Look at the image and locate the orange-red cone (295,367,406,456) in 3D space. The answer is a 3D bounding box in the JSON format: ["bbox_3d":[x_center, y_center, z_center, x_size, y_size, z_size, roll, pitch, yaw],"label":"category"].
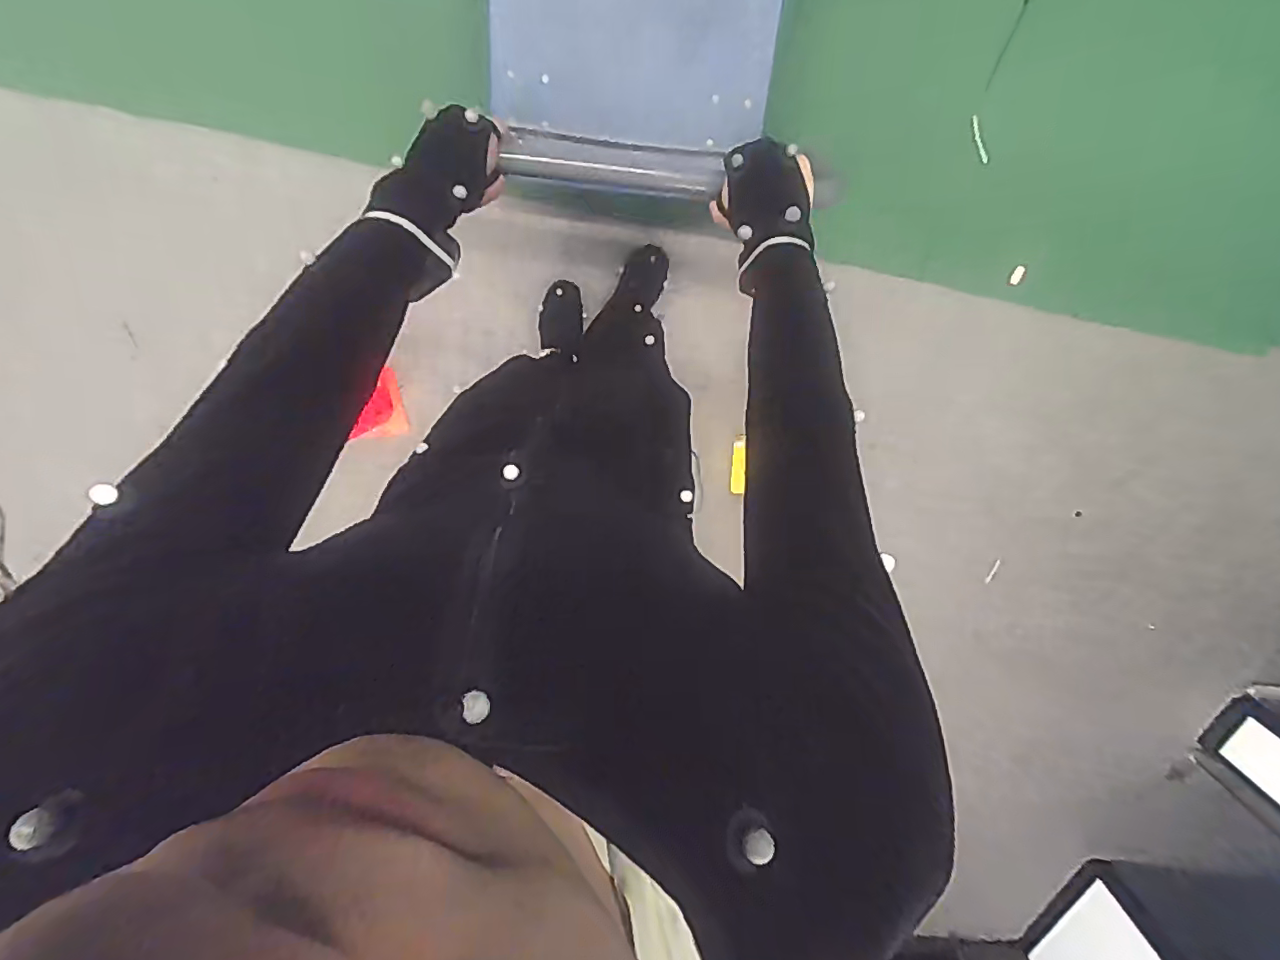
[{"bbox_3d":[-0.767,-0.144,1.373,0.199,0.360,0.198,-4,116,-1],"label":"orange-red cone"}]
